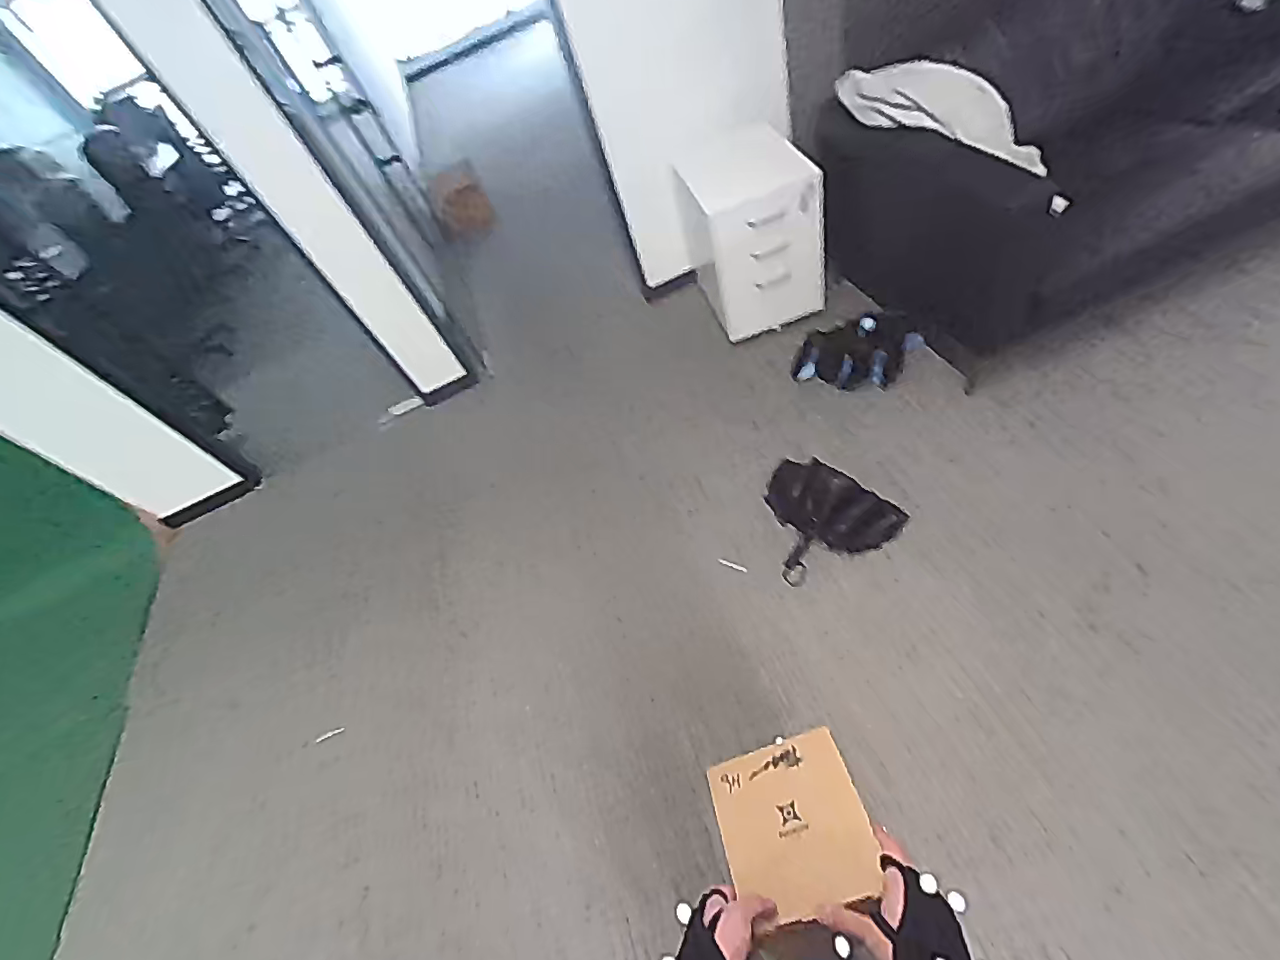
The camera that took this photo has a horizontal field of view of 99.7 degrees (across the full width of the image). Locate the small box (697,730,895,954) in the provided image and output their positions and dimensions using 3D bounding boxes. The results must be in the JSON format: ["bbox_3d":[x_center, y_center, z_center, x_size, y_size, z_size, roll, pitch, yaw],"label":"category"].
[{"bbox_3d":[0.191,0.452,0.670,0.168,0.176,0.179,-25,36,7],"label":"small box"}]
